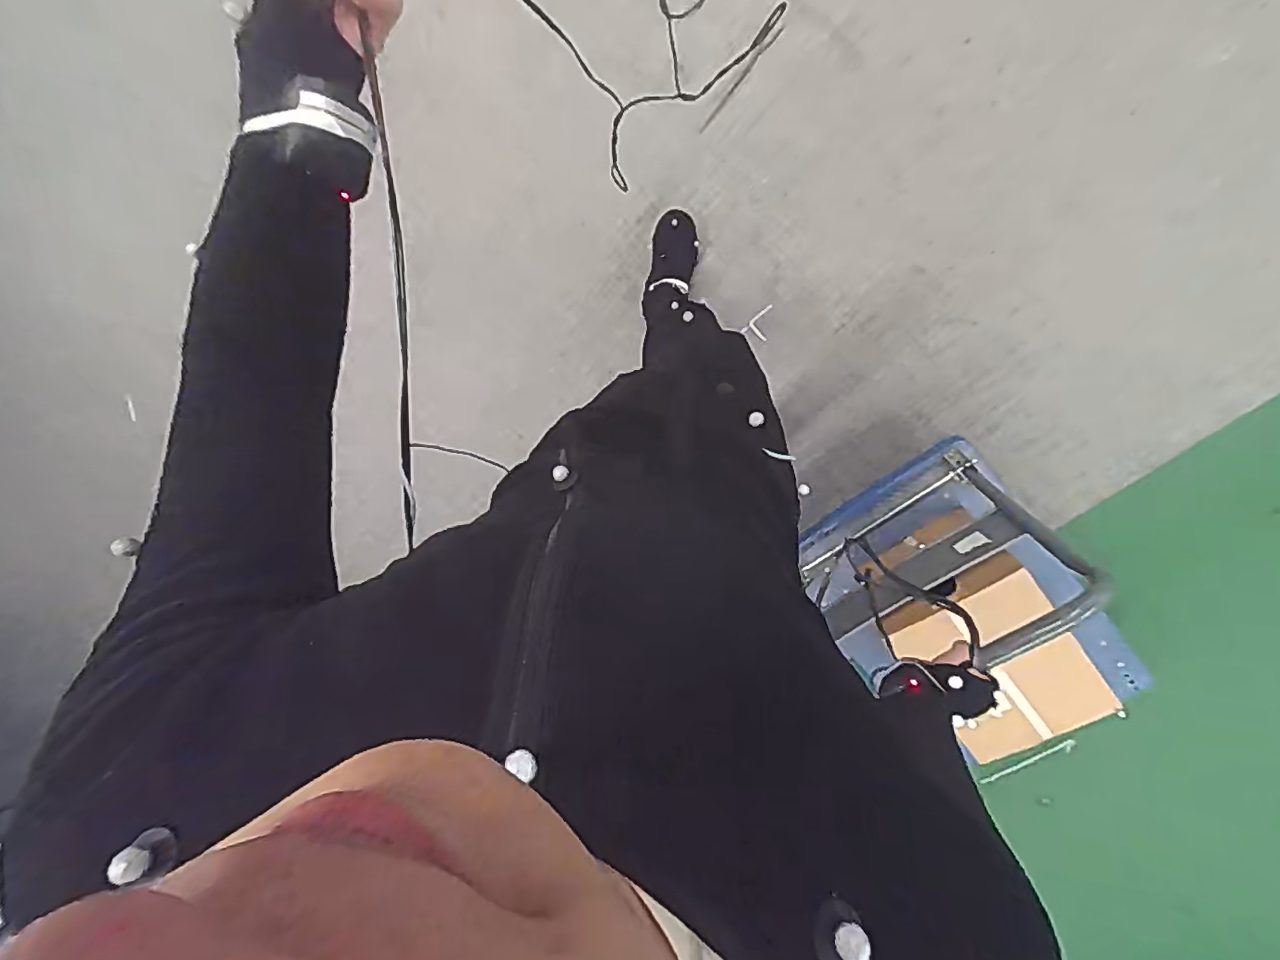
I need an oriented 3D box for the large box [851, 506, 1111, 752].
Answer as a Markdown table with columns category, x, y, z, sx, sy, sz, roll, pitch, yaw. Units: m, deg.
| category | x | y | z | sx | sy | sz | roll | pitch | yaw |
| --- | --- | --- | --- | --- | --- | --- | --- | --- | --- |
| large box | 0.775 | 0.341 | 1.291 | 0.320 | 0.320 | 0.408 | -36 | 101 | 21 |
